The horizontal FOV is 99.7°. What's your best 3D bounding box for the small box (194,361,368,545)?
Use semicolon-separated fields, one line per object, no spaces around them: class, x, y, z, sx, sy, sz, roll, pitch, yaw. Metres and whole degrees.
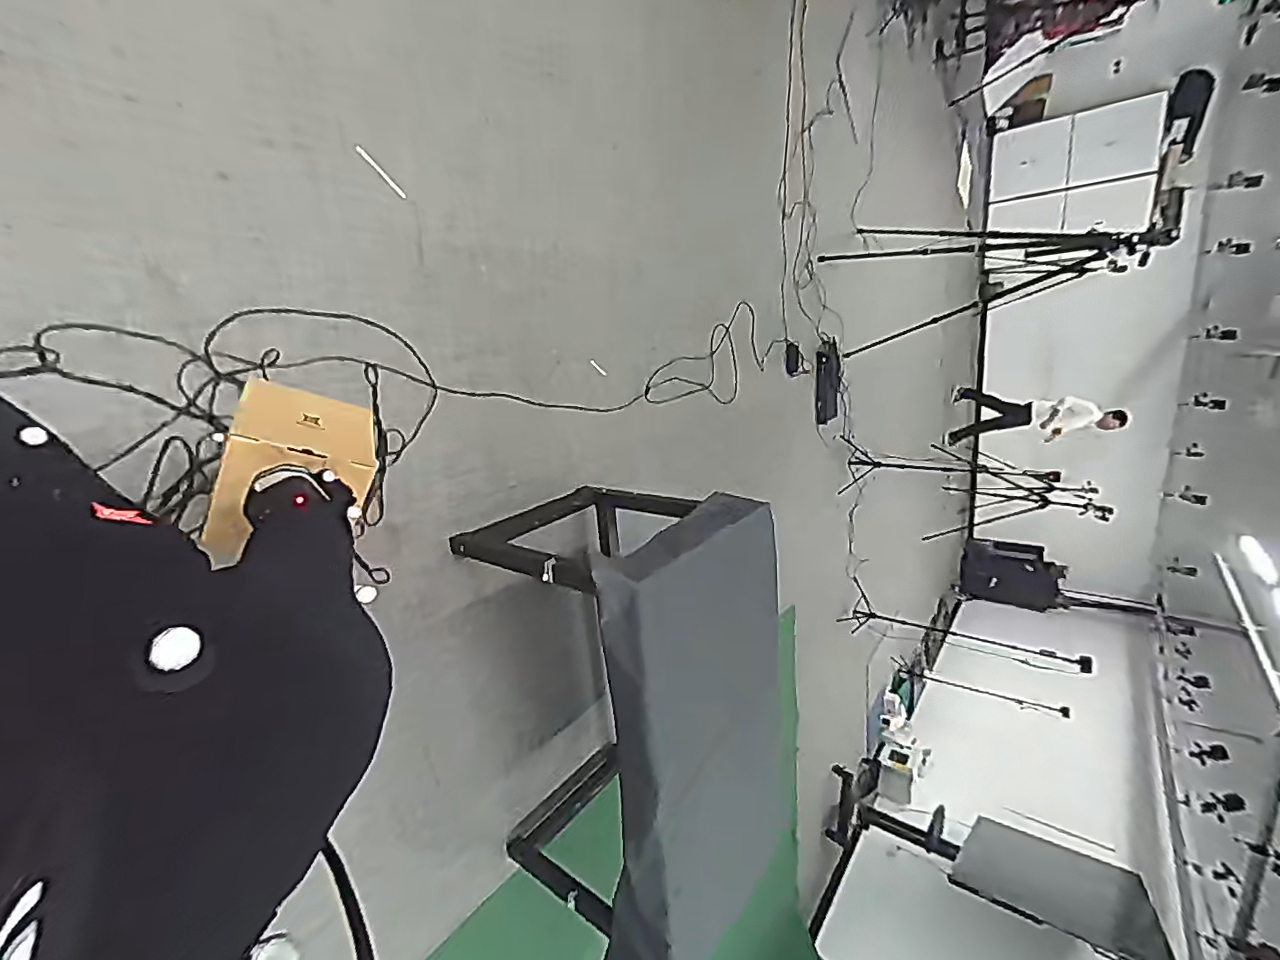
small box;-0.503;-0.035;0.769;0.168;0.179;0.176;17;117;-37
